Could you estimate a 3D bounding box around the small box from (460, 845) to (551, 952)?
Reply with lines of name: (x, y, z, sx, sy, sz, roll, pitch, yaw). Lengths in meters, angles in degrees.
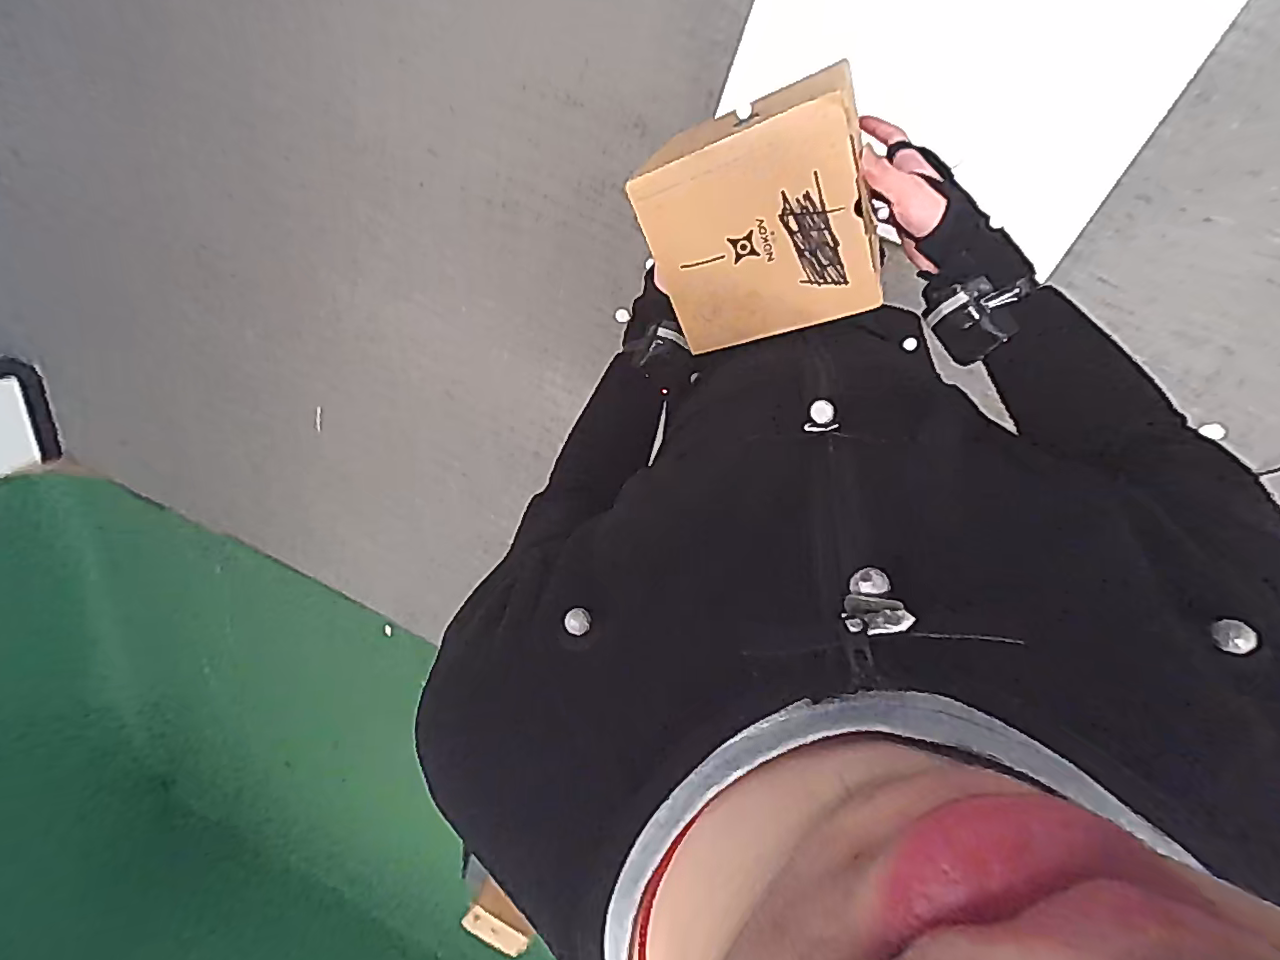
small box: (-0.381, 1.200, 1.558, 0.179, 0.176, 0.168, 30, 121, 1)

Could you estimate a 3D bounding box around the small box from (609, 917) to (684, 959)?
small box: (0.007, 1.396, 1.532, 0.179, 0.176, 0.168, 26, 120, 6)
